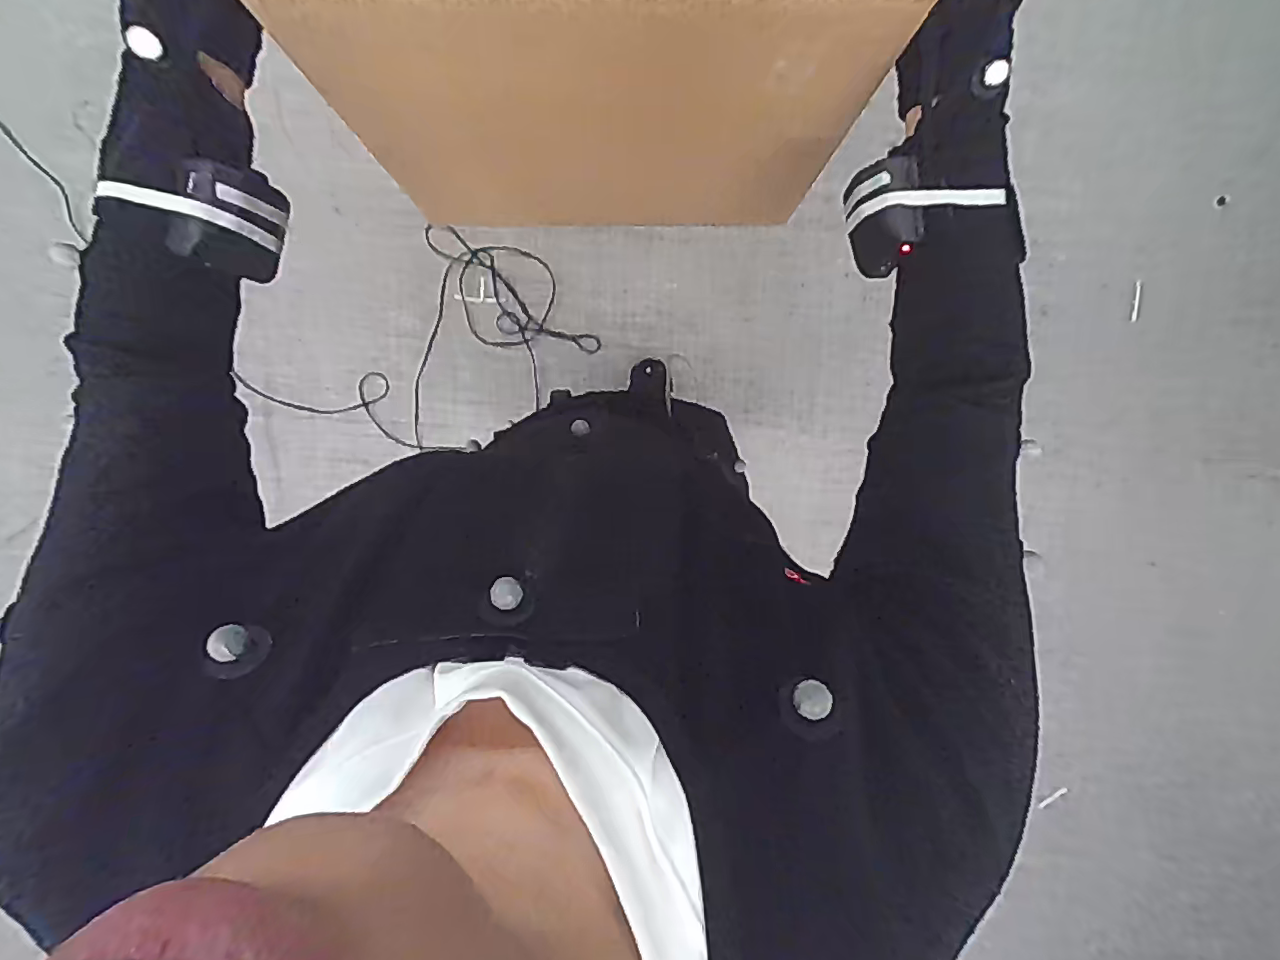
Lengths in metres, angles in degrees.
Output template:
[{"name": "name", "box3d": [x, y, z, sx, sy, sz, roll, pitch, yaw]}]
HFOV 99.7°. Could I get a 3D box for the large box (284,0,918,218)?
[{"name": "large box", "box3d": [-0.031, -0.446, 0.458, 0.408, 0.320, 0.320, -2, 93, -2]}]
